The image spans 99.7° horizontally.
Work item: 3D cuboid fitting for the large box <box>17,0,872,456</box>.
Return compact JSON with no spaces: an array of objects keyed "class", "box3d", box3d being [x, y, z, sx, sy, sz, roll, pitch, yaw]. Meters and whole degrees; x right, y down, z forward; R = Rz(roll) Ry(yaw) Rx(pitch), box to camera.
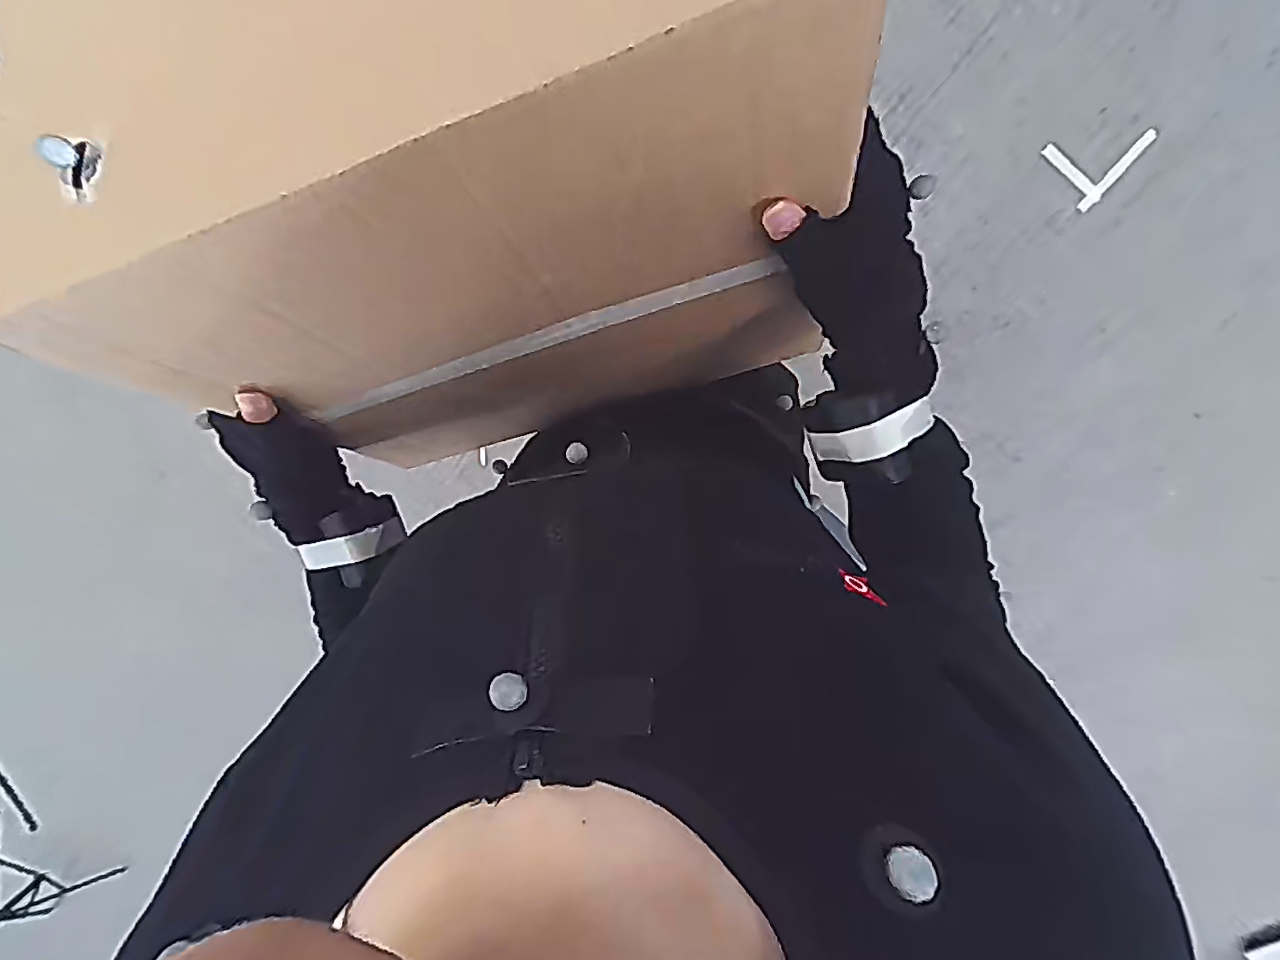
[{"class":"large box","box3d":[-0.102,-0.243,0.392,0.408,0.320,0.320,-14,77,11]}]
